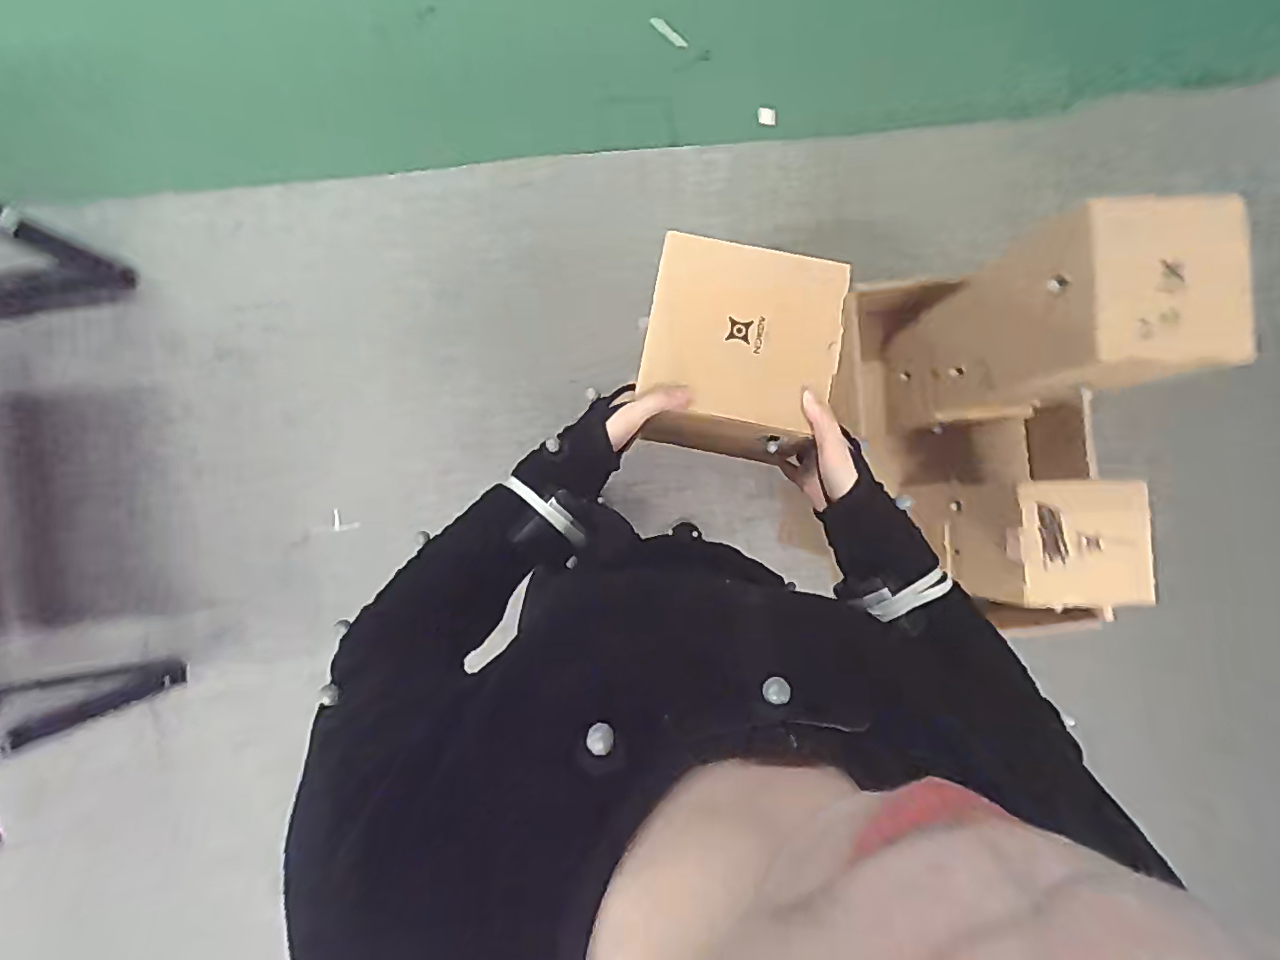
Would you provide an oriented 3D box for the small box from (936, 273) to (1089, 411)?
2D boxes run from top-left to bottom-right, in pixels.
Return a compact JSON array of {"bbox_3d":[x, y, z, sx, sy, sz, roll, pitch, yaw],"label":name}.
[{"bbox_3d":[0.561,-0.197,0.800,0.179,0.176,0.168,-3,88,0],"label":"small box"}]

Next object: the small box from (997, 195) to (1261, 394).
[{"bbox_3d":[0.552,-0.205,0.635,0.168,0.176,0.179,0,89,1],"label":"small box"}]

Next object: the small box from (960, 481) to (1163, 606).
[{"bbox_3d":[0.592,0.088,0.787,0.179,0.176,0.168,-1,87,0],"label":"small box"}]

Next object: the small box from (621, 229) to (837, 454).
[{"bbox_3d":[0.082,-0.129,0.566,0.179,0.176,0.168,10,83,1],"label":"small box"}]
